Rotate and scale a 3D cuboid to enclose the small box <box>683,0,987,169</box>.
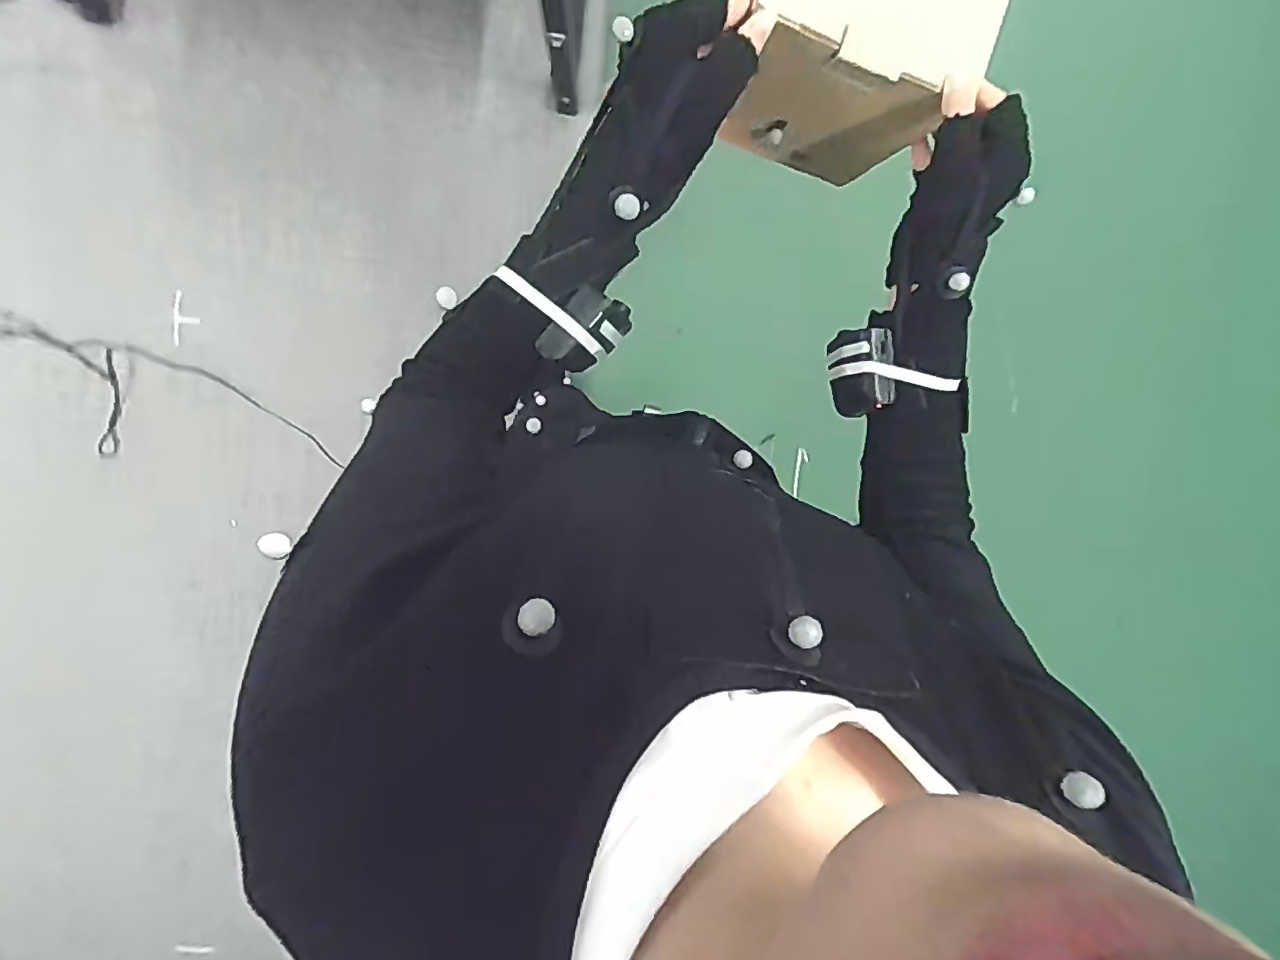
[{"bbox_3d":[0.144,-0.377,0.412,0.168,0.176,0.179,12,100,-13],"label":"small box"}]
